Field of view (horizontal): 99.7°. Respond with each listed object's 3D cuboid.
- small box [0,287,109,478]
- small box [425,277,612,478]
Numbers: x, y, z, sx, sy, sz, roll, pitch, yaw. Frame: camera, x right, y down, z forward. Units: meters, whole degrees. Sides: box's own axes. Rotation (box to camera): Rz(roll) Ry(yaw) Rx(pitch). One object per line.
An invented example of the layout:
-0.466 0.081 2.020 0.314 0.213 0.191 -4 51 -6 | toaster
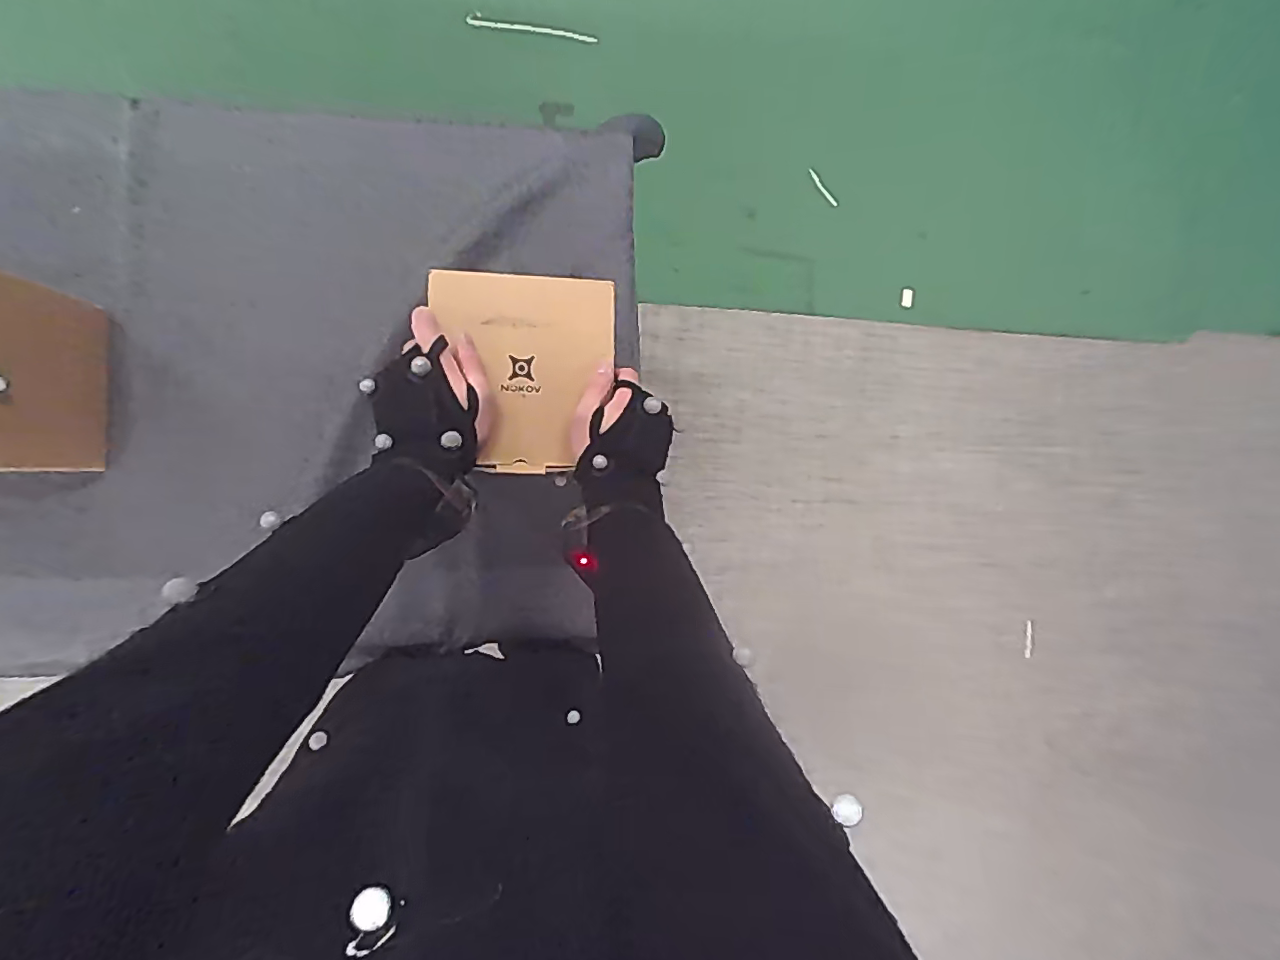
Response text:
-0.641 -0.090 0.492 0.168 0.176 0.179 1 90 -8 | small box
-0.118 -0.091 0.563 0.168 0.176 0.179 0 90 -9 | small box
